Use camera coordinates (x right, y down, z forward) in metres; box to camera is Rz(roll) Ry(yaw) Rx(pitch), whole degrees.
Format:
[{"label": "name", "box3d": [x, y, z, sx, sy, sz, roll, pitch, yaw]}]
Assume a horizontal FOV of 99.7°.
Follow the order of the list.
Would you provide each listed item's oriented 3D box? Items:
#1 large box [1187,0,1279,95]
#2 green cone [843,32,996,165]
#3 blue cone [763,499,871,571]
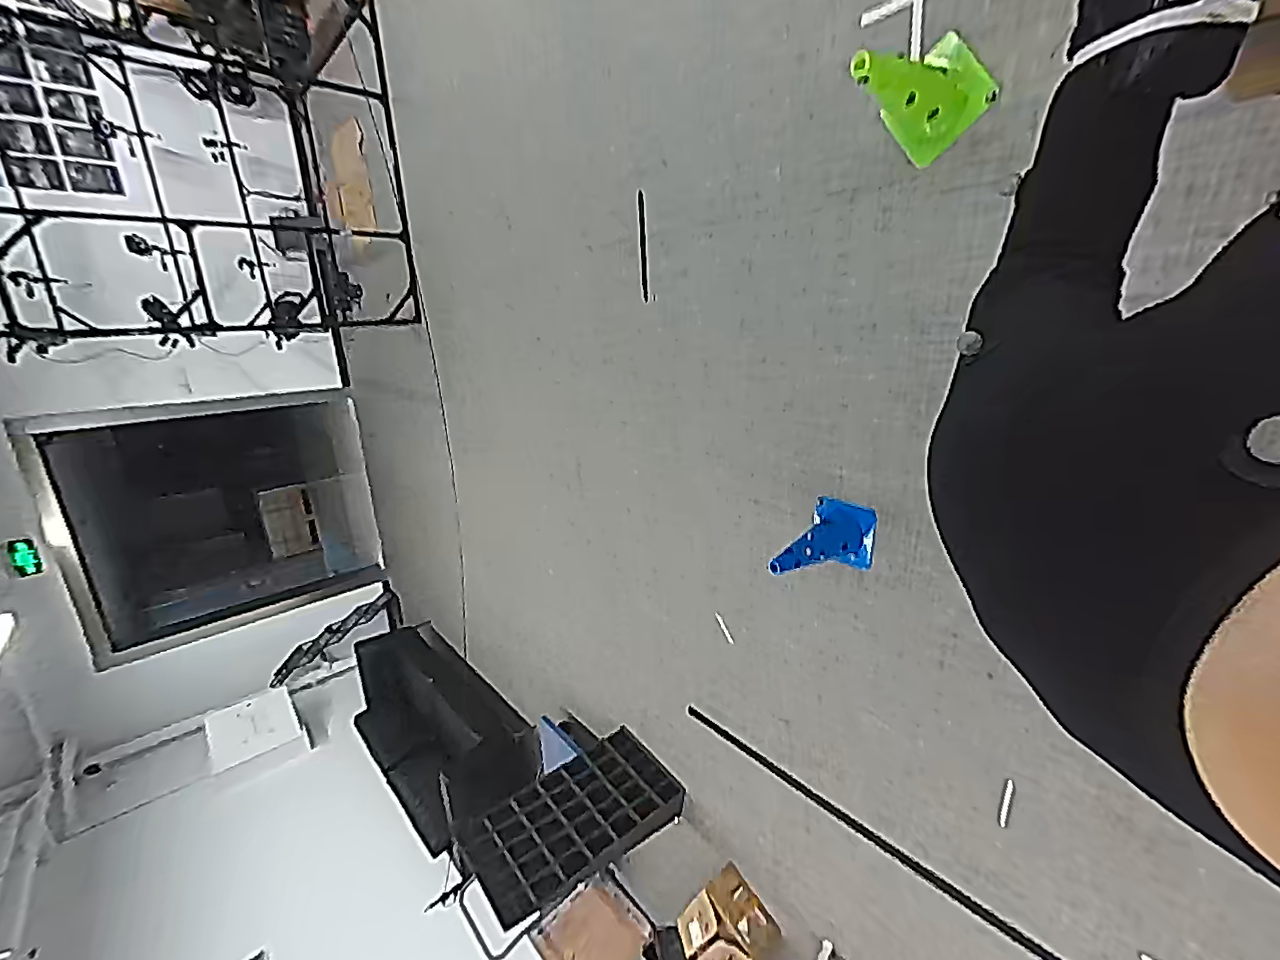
[{"label": "large box", "box3d": [0.588, -0.445, 0.257, 0.408, 0.320, 0.320, 18, 120, 46]}, {"label": "green cone", "box3d": [0.551, -0.841, 1.150, 0.202, 0.368, 0.200, -42, 69, 51]}, {"label": "blue cone", "box3d": [0.503, 0.198, 1.595, 0.192, 0.380, 0.193, 22, 118, 47]}]
